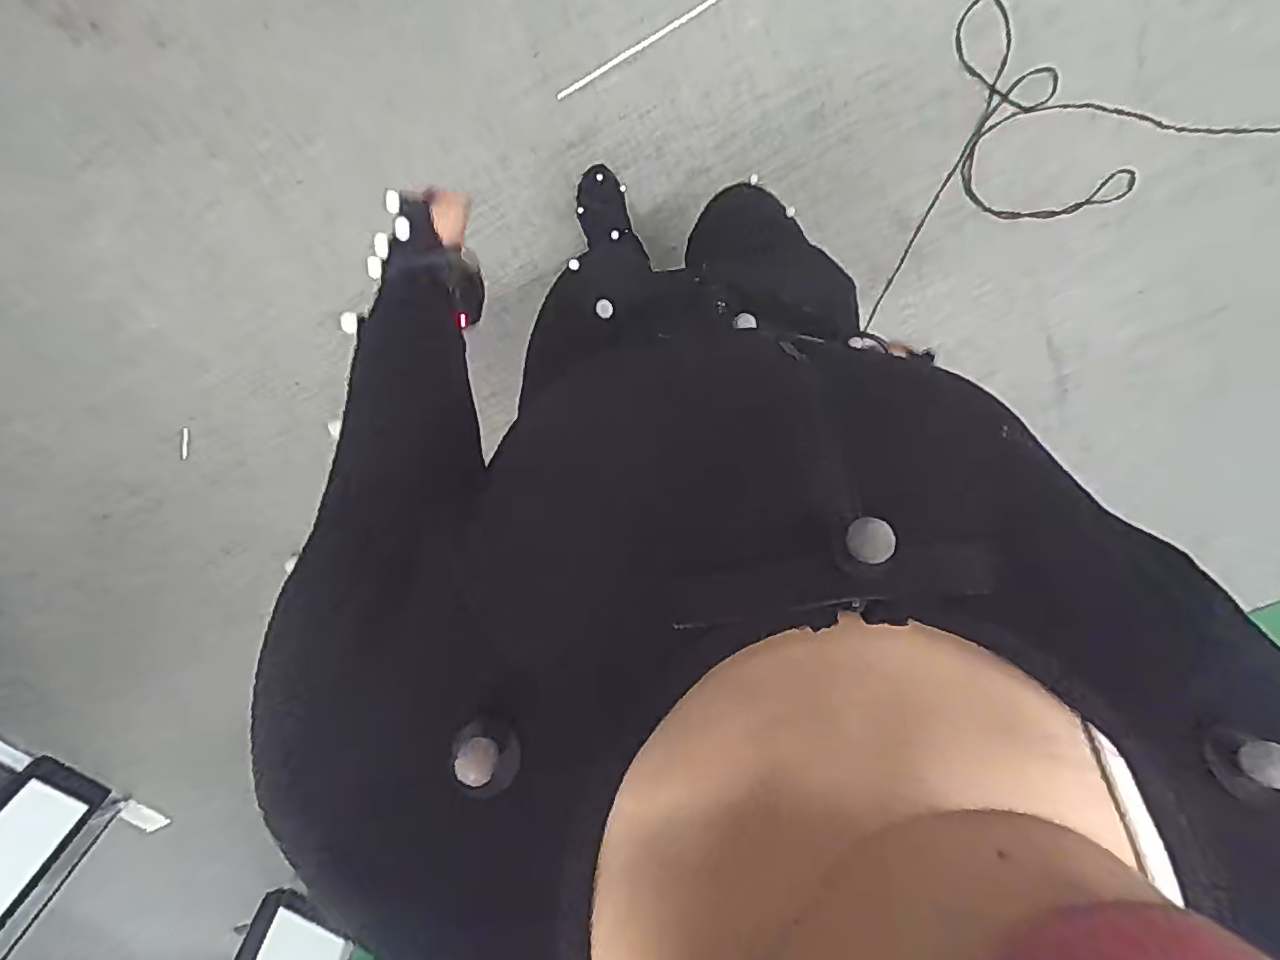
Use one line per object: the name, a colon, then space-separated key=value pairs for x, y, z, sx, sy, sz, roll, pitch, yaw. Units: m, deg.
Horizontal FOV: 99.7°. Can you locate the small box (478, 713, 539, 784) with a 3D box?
small box: x=-0.491 y=1.011 z=2.047 sx=0.179 sy=0.176 sz=0.168 roll=-15 pitch=119 yaw=4
